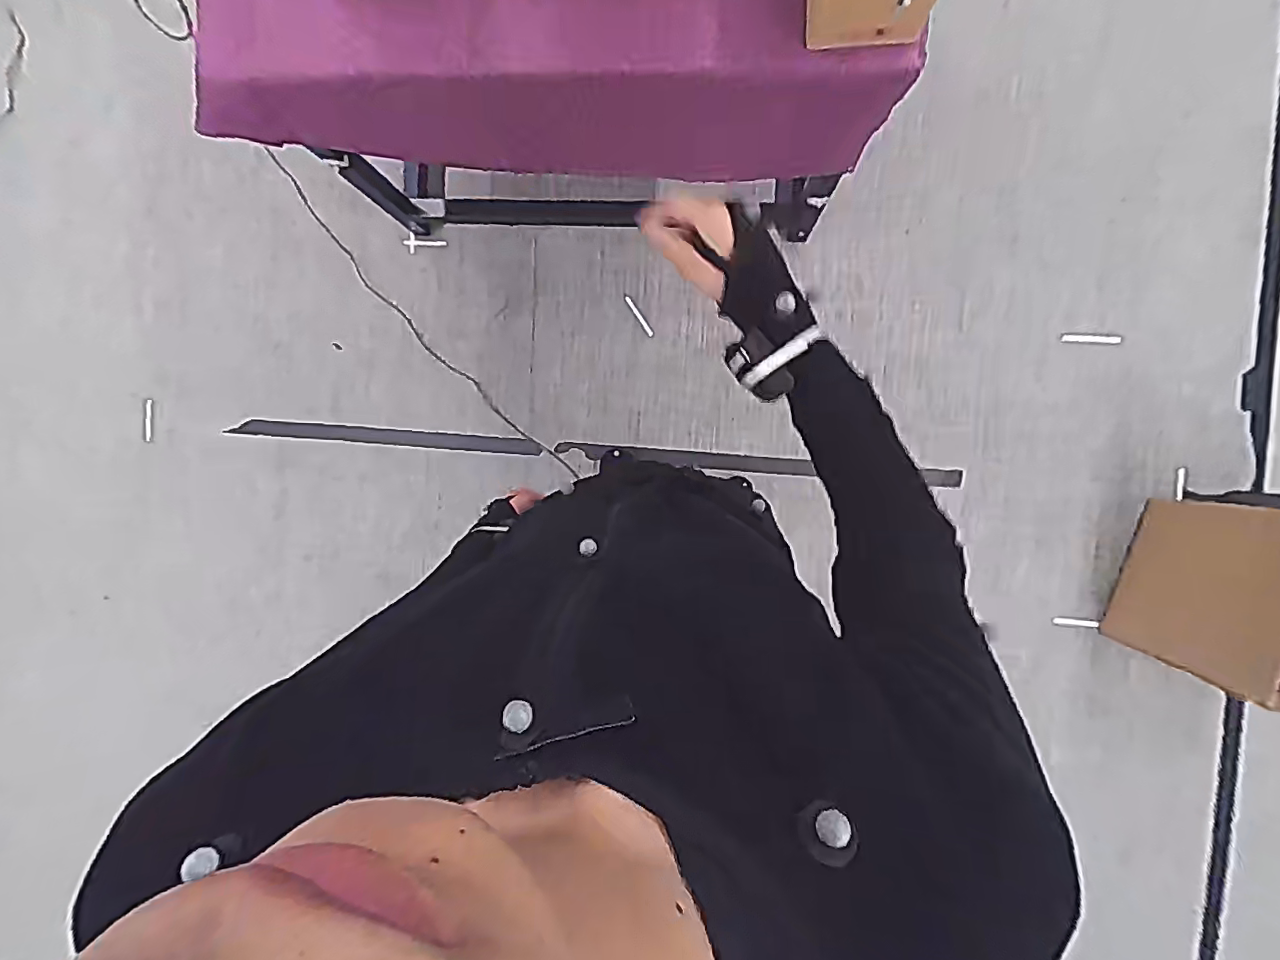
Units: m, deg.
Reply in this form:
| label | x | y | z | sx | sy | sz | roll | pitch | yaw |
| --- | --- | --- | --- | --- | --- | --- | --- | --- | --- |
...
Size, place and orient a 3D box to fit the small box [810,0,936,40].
| label | x | y | z | sx | sy | sz | roll | pitch | yaw |
| --- | --- | --- | --- | --- | --- | --- | --- | --- | --- |
| small box | 0.338 | -0.751 | 0.747 | 0.168 | 0.176 | 0.179 | 1 | 92 | 5 |
